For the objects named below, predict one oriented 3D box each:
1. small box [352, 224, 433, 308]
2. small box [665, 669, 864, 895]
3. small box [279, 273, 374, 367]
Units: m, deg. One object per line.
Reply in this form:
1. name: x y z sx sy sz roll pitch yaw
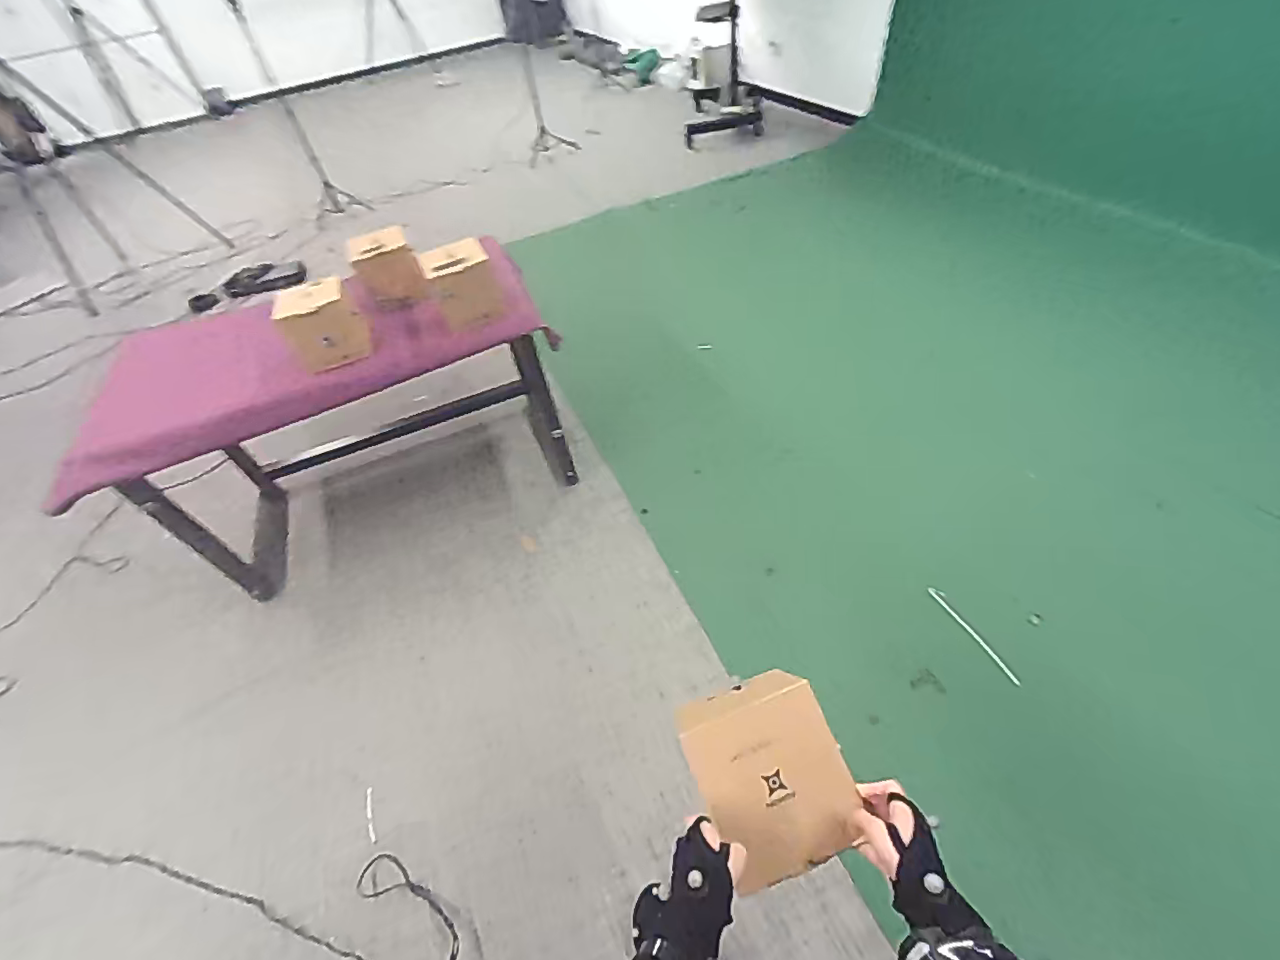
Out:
1. small box: -0.751 -0.646 1.647 0.168 0.176 0.179 -23 48 -11
2. small box: 0.138 0.353 0.673 0.168 0.176 0.179 -21 76 -6
3. small box: -0.837 -0.425 1.460 0.168 0.176 0.179 -21 47 -10
